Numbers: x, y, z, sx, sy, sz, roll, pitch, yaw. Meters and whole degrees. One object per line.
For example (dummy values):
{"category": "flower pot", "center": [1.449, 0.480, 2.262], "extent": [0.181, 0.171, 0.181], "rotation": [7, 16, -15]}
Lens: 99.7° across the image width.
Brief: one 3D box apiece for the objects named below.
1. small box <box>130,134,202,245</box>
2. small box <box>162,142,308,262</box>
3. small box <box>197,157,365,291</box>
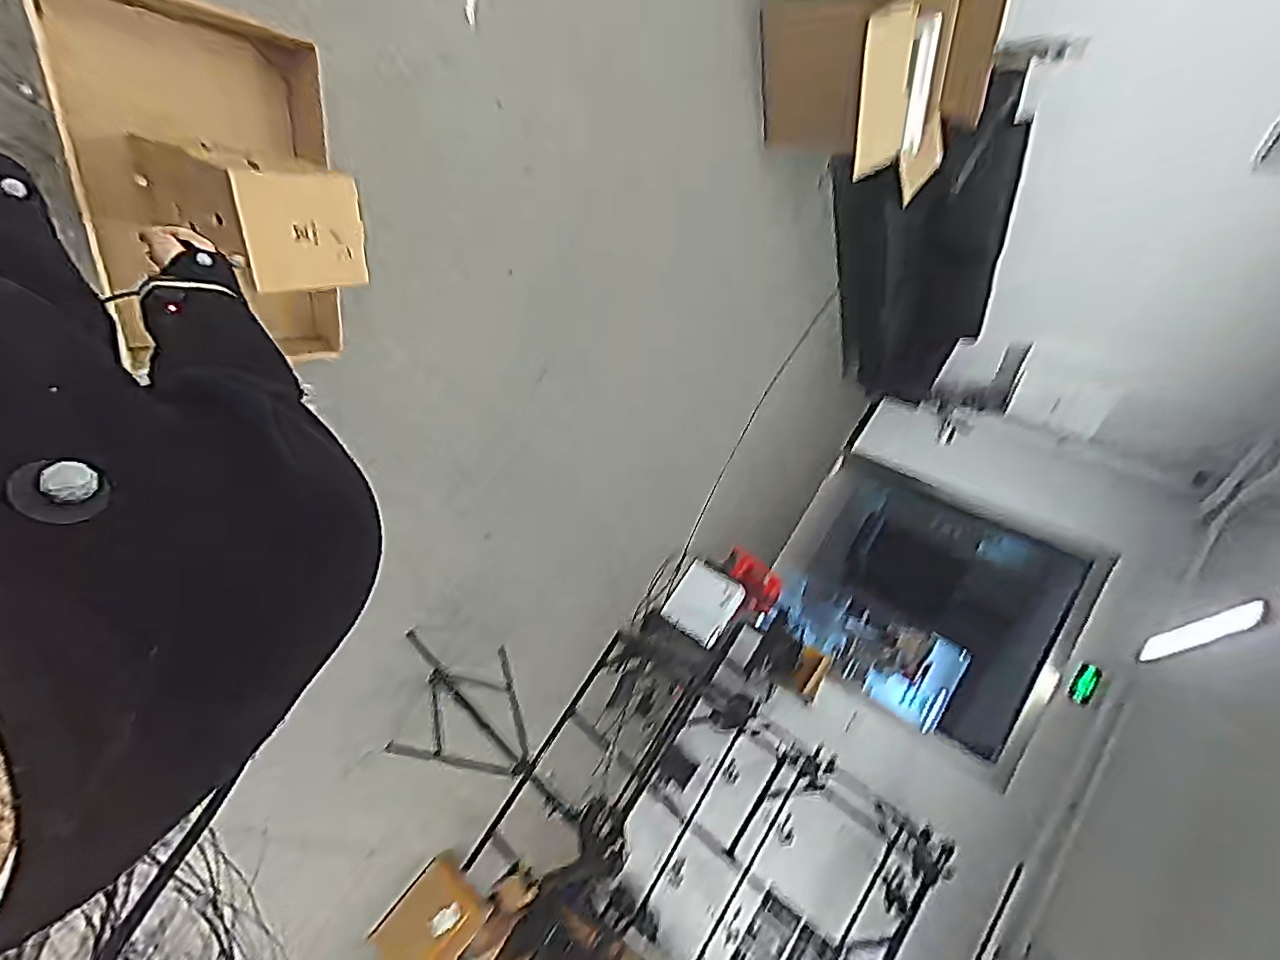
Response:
{"category": "small box", "center": [-0.831, -0.553, 1.042], "extent": [0.179, 0.176, 0.168], "rotation": [-21, 132, -47]}
{"category": "small box", "center": [-0.706, -0.490, 0.960], "extent": [0.179, 0.176, 0.168], "rotation": [-27, 137, -45]}
{"category": "small box", "center": [-0.582, -0.416, 0.878], "extent": [0.179, 0.176, 0.168], "rotation": [-26, 137, -44]}
